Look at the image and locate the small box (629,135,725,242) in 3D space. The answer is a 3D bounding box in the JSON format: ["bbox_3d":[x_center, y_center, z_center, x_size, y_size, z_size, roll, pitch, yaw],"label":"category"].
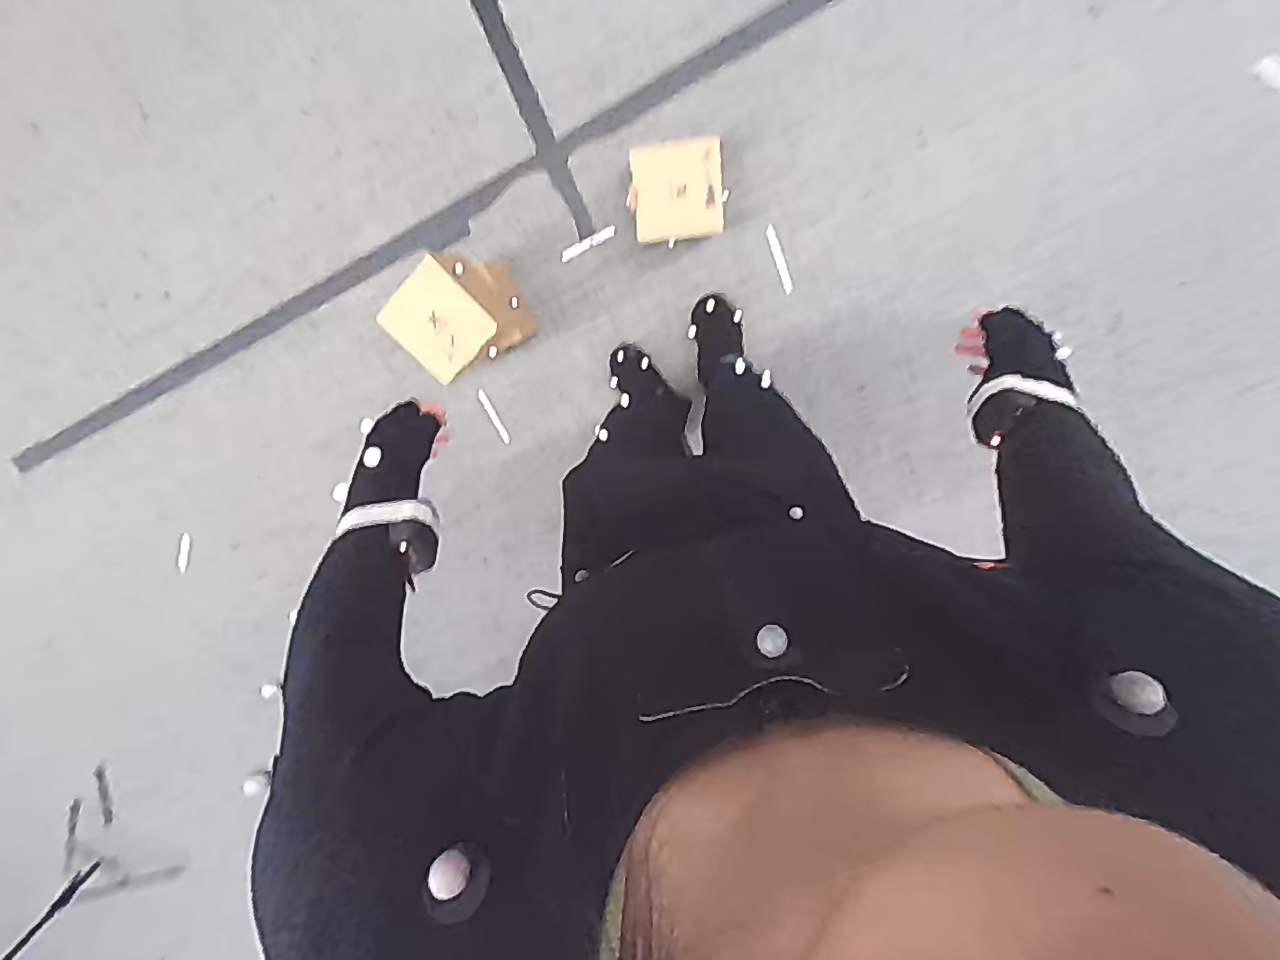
[{"bbox_3d":[0.079,-0.600,1.134,0.179,0.176,0.168,-7,112,5],"label":"small box"}]

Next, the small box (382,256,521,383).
[{"bbox_3d":[-0.370,-0.330,1.094,0.168,0.176,0.179,-36,109,18],"label":"small box"}]

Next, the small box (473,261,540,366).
[{"bbox_3d":[-0.353,-0.387,1.248,0.168,0.176,0.179,-23,109,13],"label":"small box"}]
